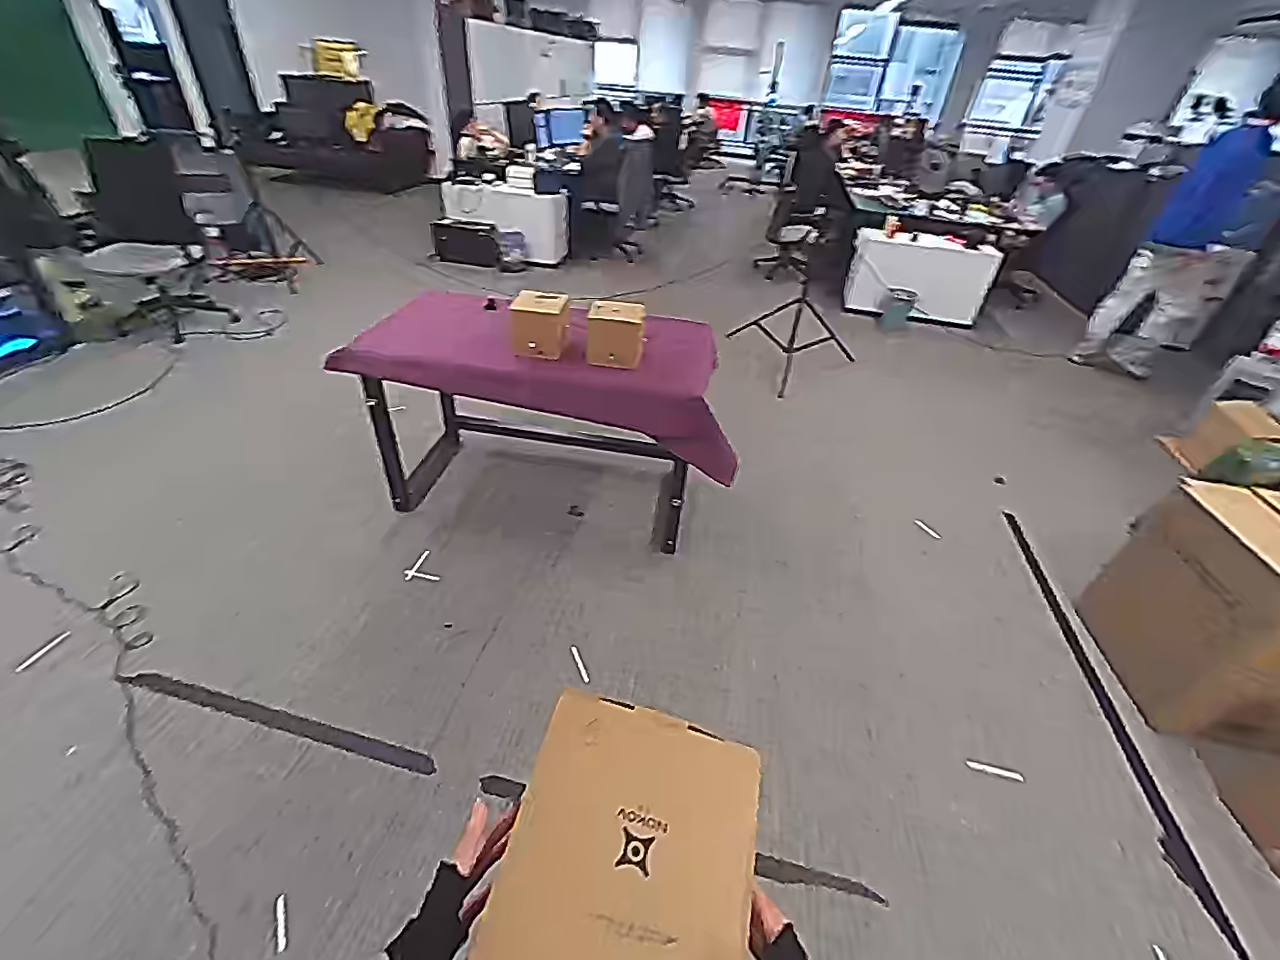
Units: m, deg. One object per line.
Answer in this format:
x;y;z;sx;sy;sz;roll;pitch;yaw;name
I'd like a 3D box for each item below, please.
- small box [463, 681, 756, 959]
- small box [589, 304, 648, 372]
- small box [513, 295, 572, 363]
-0.023;0.293;0.415;0.168;0.176;0.179;18;45;1;small box
-0.074;-0.486;1.854;0.179;0.176;0.168;7;37;3;small box
-0.334;-0.524;1.873;0.168;0.176;0.179;7;38;3;small box
